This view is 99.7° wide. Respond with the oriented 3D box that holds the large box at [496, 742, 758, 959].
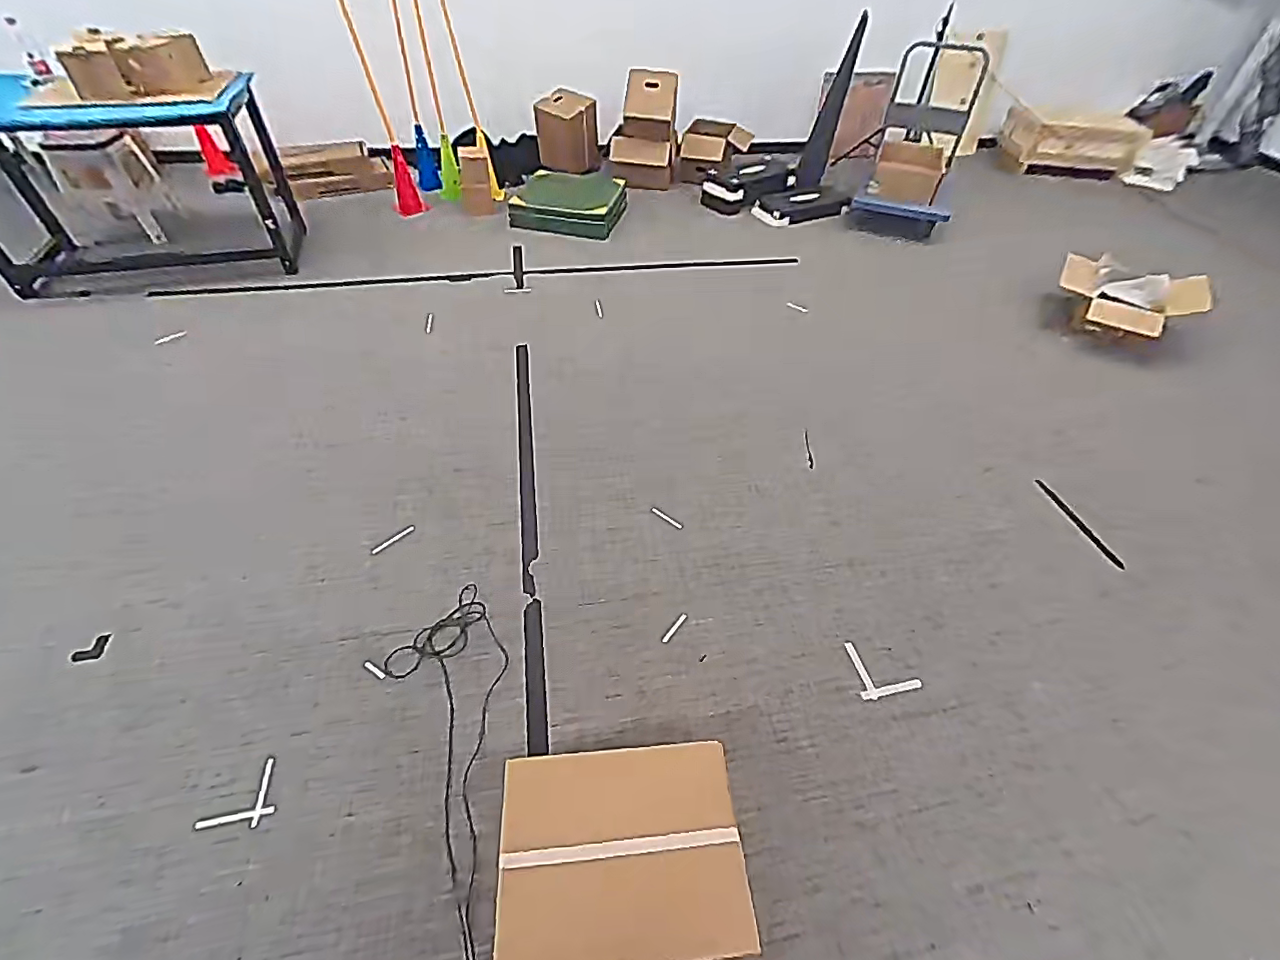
[{"bbox_3d":[-0.035,0.724,1.016,0.408,0.320,0.320,-3,46,-6],"label":"large box"}]
